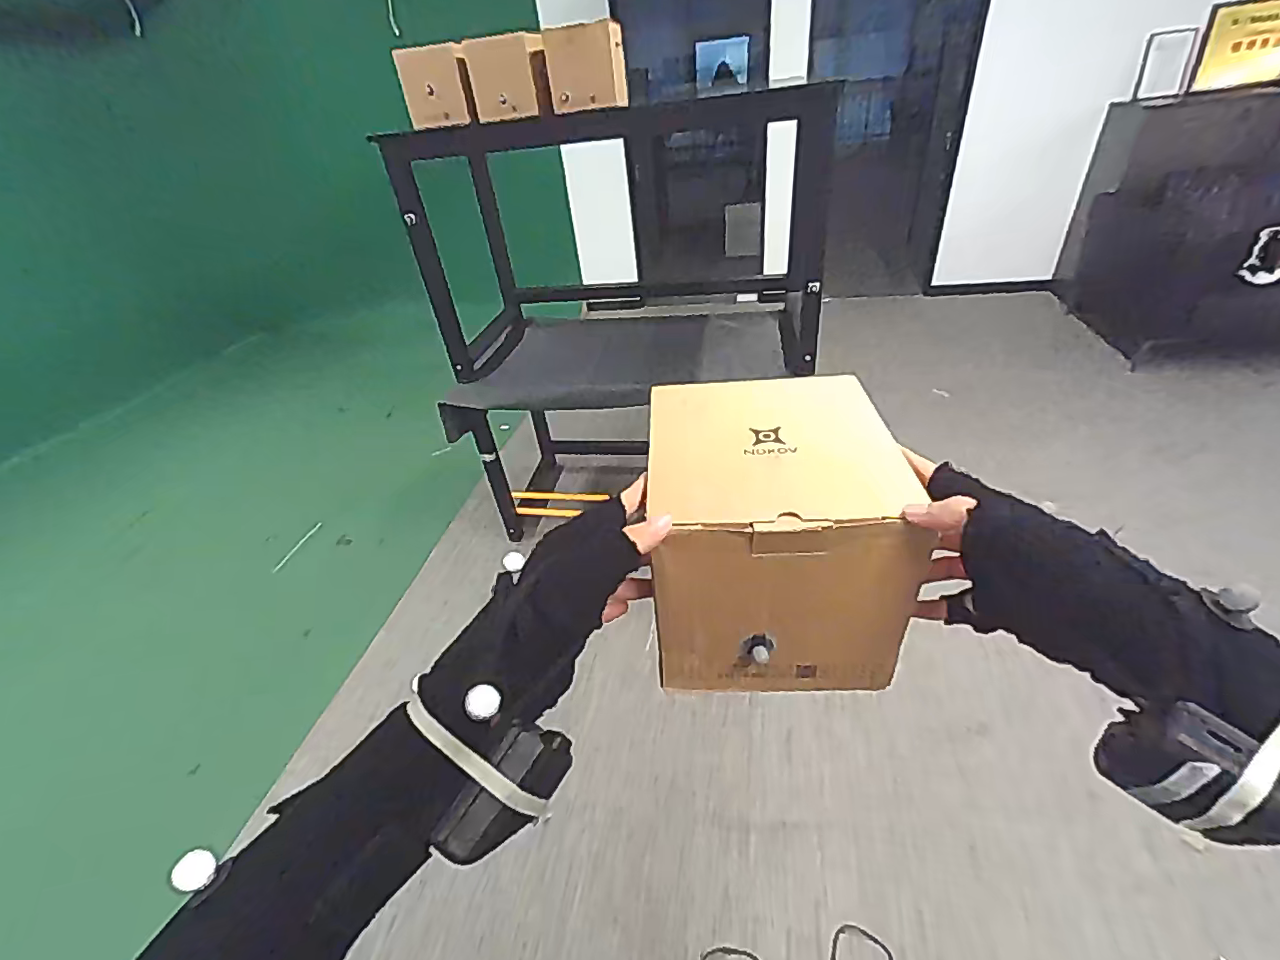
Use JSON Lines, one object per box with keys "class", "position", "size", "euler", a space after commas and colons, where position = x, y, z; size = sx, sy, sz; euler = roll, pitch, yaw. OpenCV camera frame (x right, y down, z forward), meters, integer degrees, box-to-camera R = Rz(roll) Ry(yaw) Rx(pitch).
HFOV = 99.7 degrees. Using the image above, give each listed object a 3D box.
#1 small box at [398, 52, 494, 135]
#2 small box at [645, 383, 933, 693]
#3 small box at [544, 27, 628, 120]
{"class": "small box", "position": [-0.515, -1.044, 1.466], "size": [0.168, 0.176, 0.179], "euler": [2, 37, 10]}
{"class": "small box", "position": [0.092, 0.040, 0.422], "size": [0.168, 0.176, 0.179], "euler": [-3, 37, 4]}
{"class": "small box", "position": [-0.128, -1.025, 1.374], "size": [0.168, 0.176, 0.179], "euler": [0, 36, 9]}
